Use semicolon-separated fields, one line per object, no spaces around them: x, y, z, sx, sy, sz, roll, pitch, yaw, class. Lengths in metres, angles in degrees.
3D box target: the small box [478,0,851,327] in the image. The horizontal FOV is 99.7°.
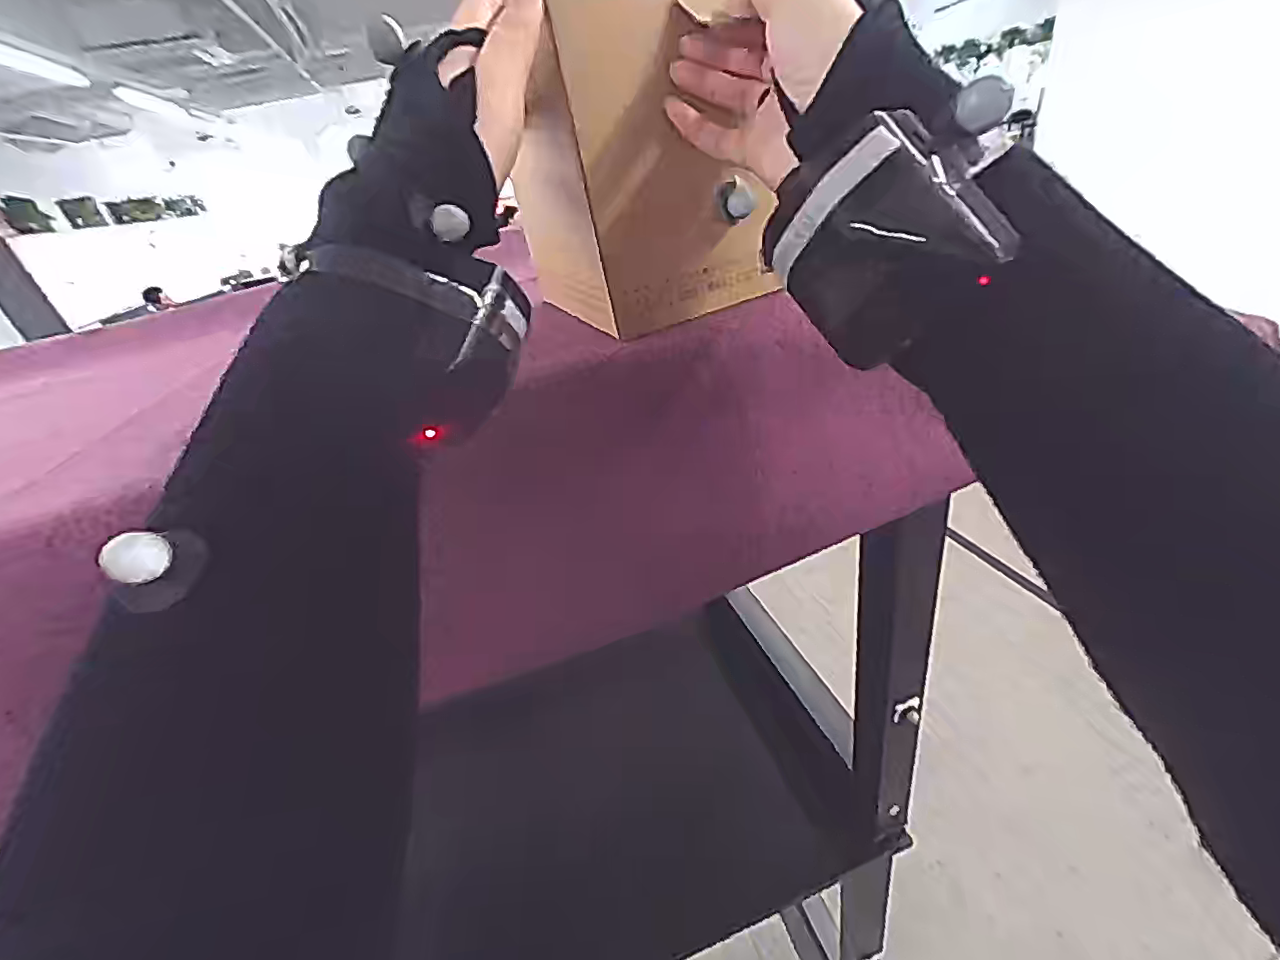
0.012;-0.210;0.352;0.168;0.176;0.179;-22;32;-15;small box
